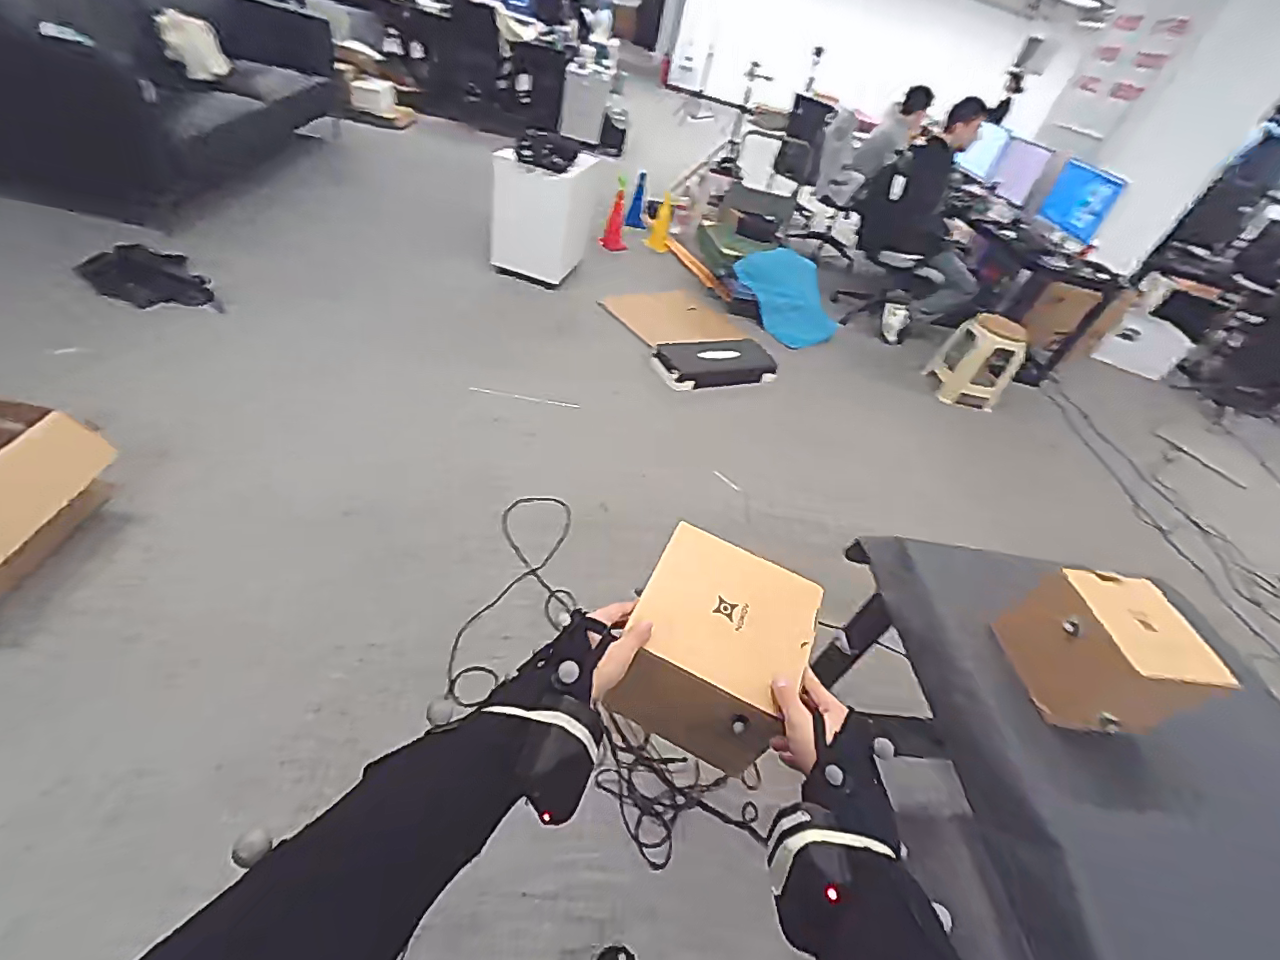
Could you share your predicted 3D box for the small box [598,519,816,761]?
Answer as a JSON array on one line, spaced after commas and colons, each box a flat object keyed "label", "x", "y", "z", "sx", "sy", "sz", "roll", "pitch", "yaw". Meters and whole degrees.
[{"label": "small box", "x": 0.068, "y": 0.181, "z": 0.604, "sx": 0.179, "sy": 0.176, "sz": 0.168, "roll": 25, "pitch": 47, "yaw": 8}]

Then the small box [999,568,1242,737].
[{"label": "small box", "x": 0.693, "y": 0.259, "z": 0.811, "sx": 0.168, "sy": 0.176, "sz": 0.179, "roll": 8, "pitch": 44, "yaw": -9}]
